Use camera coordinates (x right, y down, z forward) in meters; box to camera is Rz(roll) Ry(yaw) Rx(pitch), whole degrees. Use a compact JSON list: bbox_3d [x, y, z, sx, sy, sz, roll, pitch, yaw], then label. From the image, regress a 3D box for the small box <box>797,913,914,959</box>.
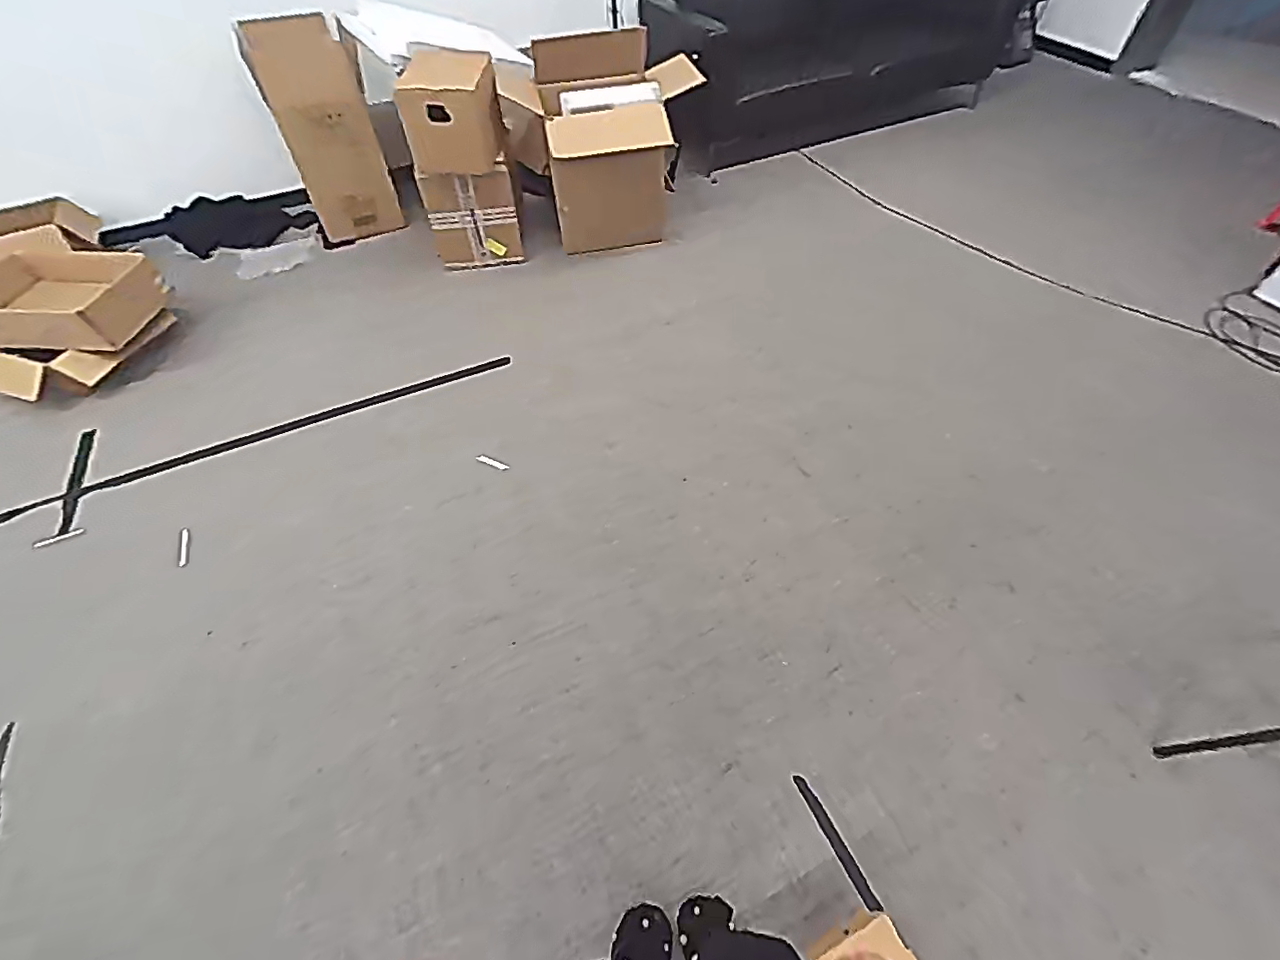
[{"bbox_3d":[0.424,0.957,1.026,0.179,0.176,0.168,-21,55,-15],"label":"small box"}]
